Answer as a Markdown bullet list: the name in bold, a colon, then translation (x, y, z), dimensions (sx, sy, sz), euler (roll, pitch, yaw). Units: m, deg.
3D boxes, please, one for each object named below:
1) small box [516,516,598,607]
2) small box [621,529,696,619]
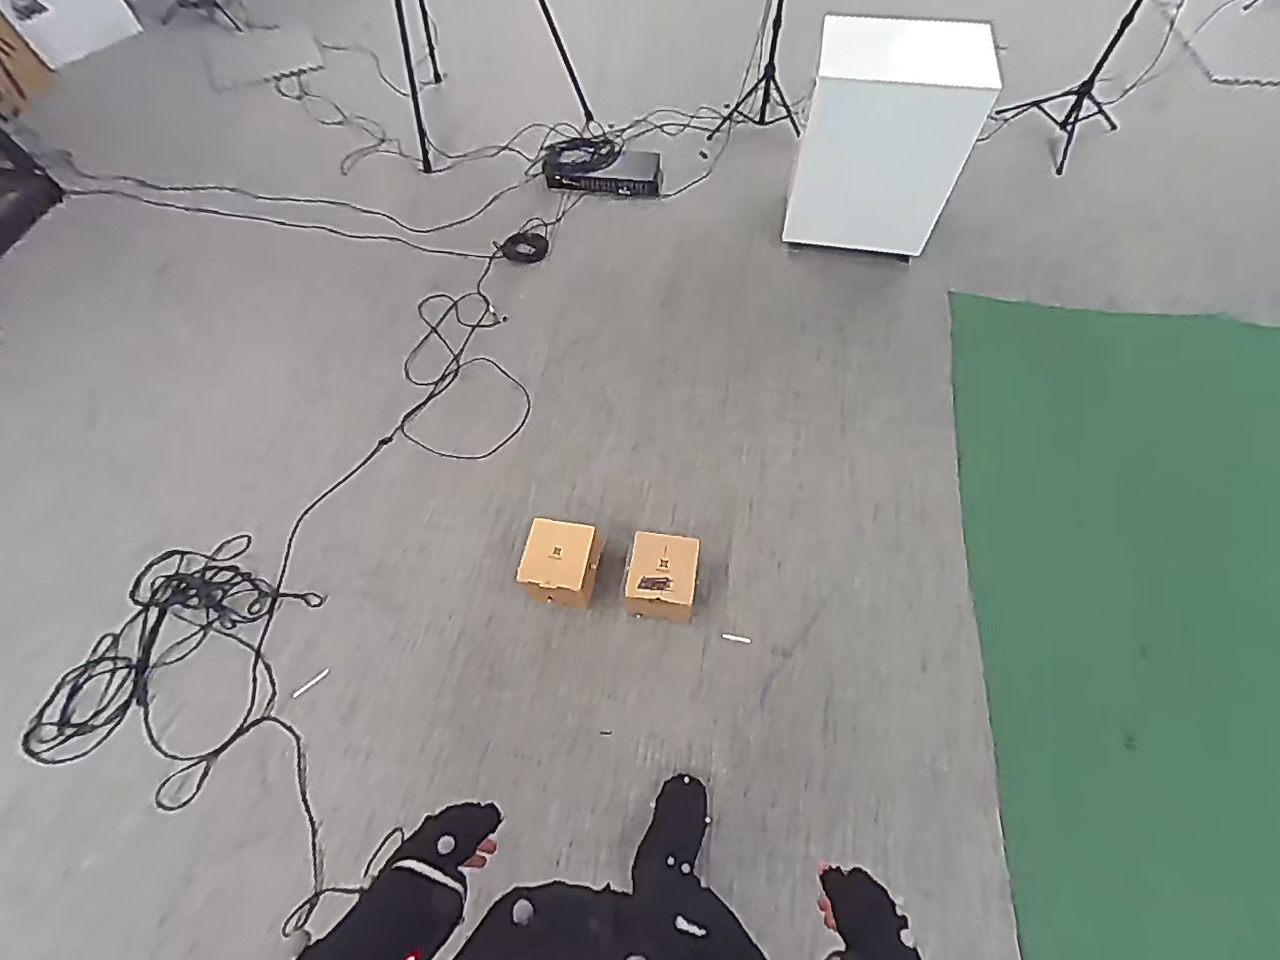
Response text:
- **small box**: translation (-0.210, 0.219, 1.435), dimensions (0.168, 0.176, 0.179), euler (7, 61, 7)
- **small box**: translation (0.052, 0.249, 1.406), dimensions (0.168, 0.176, 0.179), euler (7, 60, 6)
